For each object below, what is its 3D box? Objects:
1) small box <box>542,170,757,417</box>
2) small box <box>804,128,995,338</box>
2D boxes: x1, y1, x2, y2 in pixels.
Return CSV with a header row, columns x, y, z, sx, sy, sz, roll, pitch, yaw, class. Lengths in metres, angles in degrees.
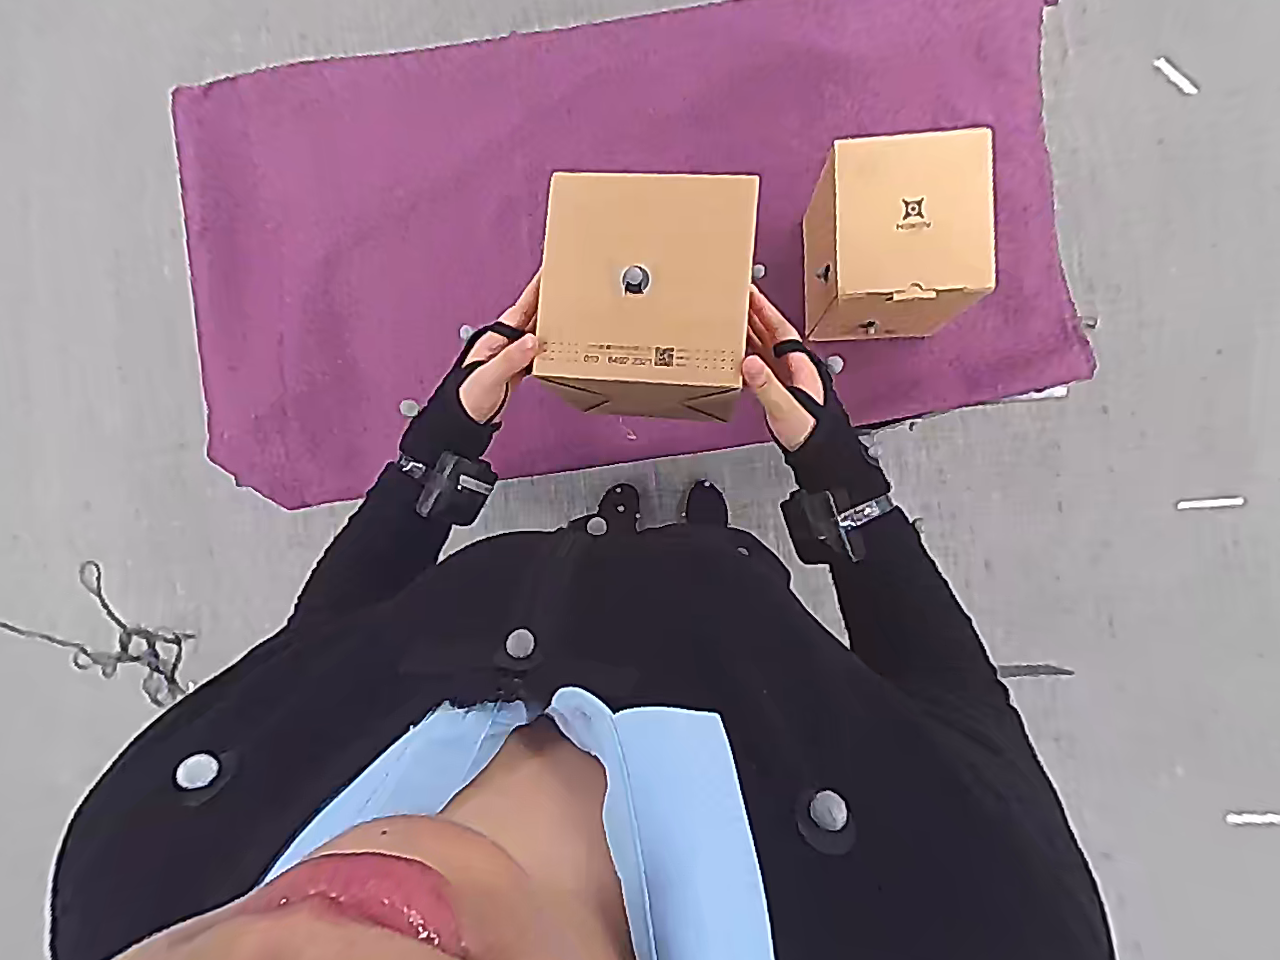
x,y,z,sx,sy,sz,roll,pitch,yaw,class
0.014,-0.154,0.500,0.168,0.179,0.176,6,88,7,small box
0.301,-0.287,0.661,0.168,0.176,0.179,-1,88,6,small box
